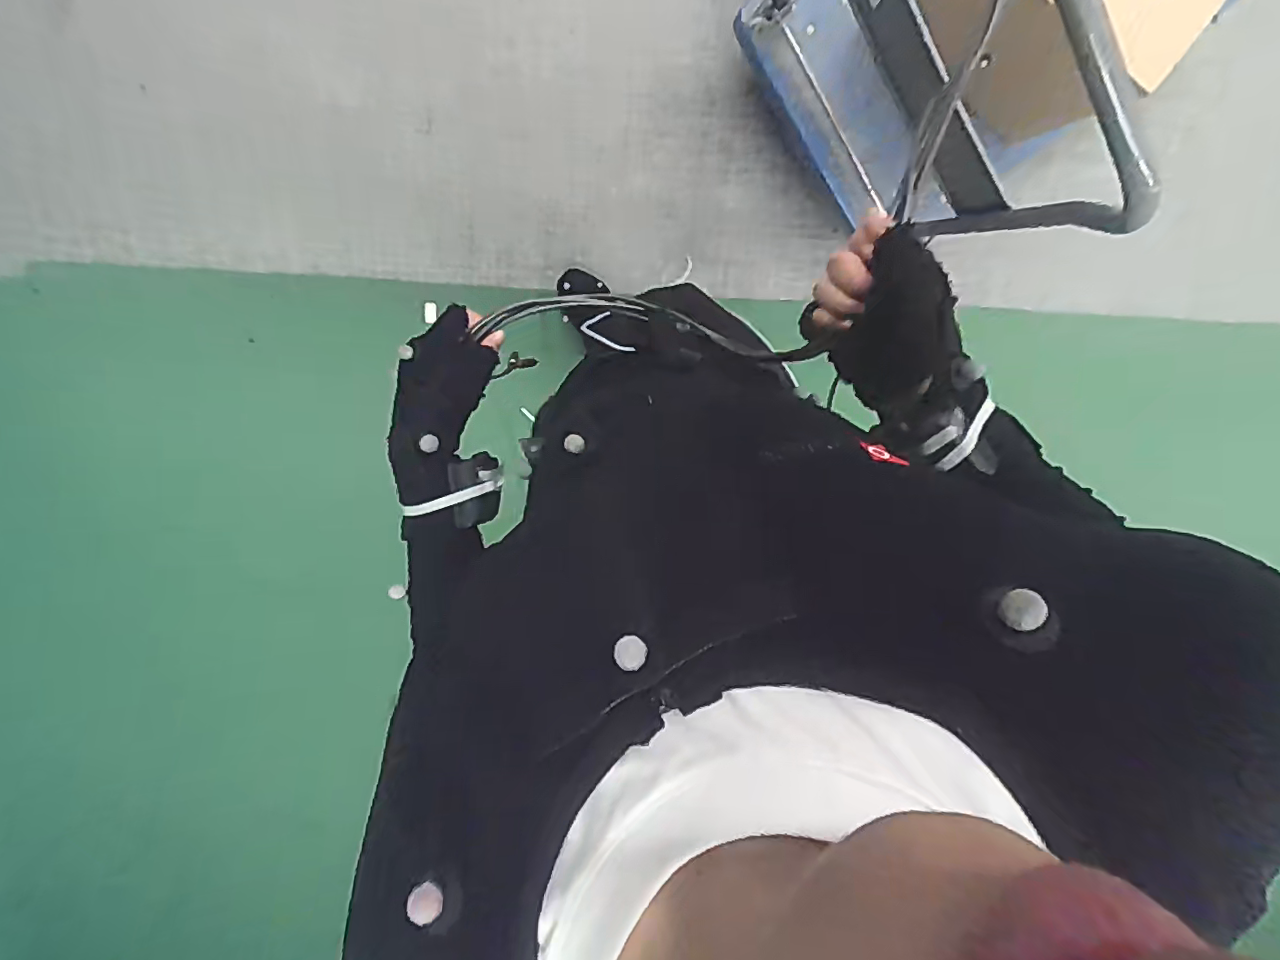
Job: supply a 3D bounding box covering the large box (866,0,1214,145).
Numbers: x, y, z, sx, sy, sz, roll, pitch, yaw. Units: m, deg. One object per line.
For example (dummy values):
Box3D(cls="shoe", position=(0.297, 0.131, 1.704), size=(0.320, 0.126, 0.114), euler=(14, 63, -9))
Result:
Box3D(cls="large box", position=(0.687, -0.858, 0.912), size=(0.408, 0.320, 0.320), euler=(28, 105, -11))
